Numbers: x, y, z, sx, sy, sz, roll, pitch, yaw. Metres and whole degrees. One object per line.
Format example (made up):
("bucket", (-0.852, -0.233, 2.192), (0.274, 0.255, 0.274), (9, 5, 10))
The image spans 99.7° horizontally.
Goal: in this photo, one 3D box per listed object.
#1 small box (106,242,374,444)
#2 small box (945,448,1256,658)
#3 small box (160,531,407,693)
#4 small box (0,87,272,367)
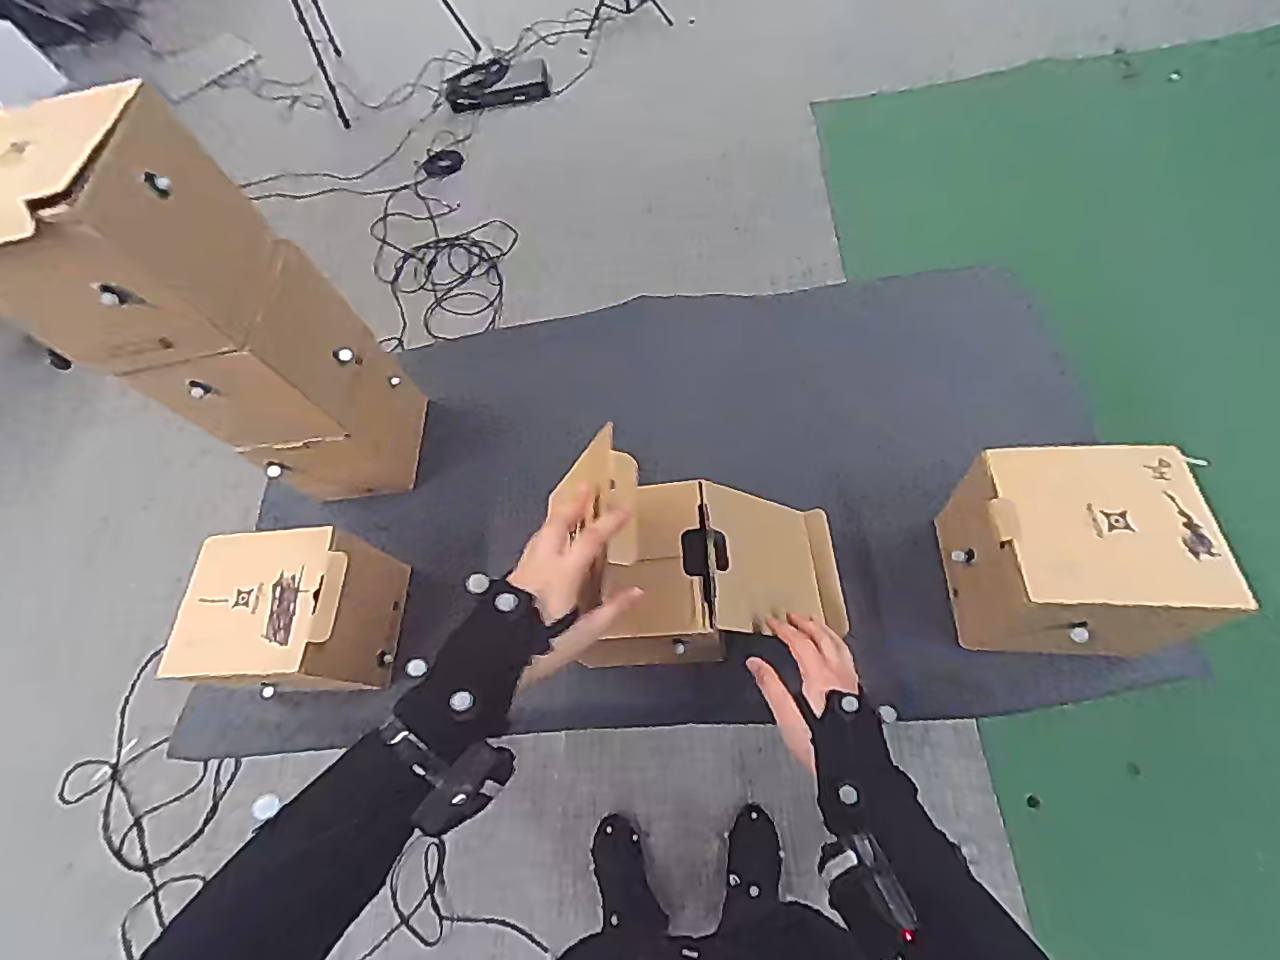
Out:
("small box", (-0.466, -0.156, 0.662), (0.179, 0.176, 0.168), (-5, 64, 7))
("small box", (0.441, 0.082, 0.564), (0.179, 0.176, 0.168), (-1, 59, 11))
("small box", (-0.423, 0.172, 0.679), (0.179, 0.176, 0.168), (-5, 63, 8))
("small box", (-0.498, -0.226, 0.519), (0.168, 0.176, 0.179), (-8, 62, 4))
